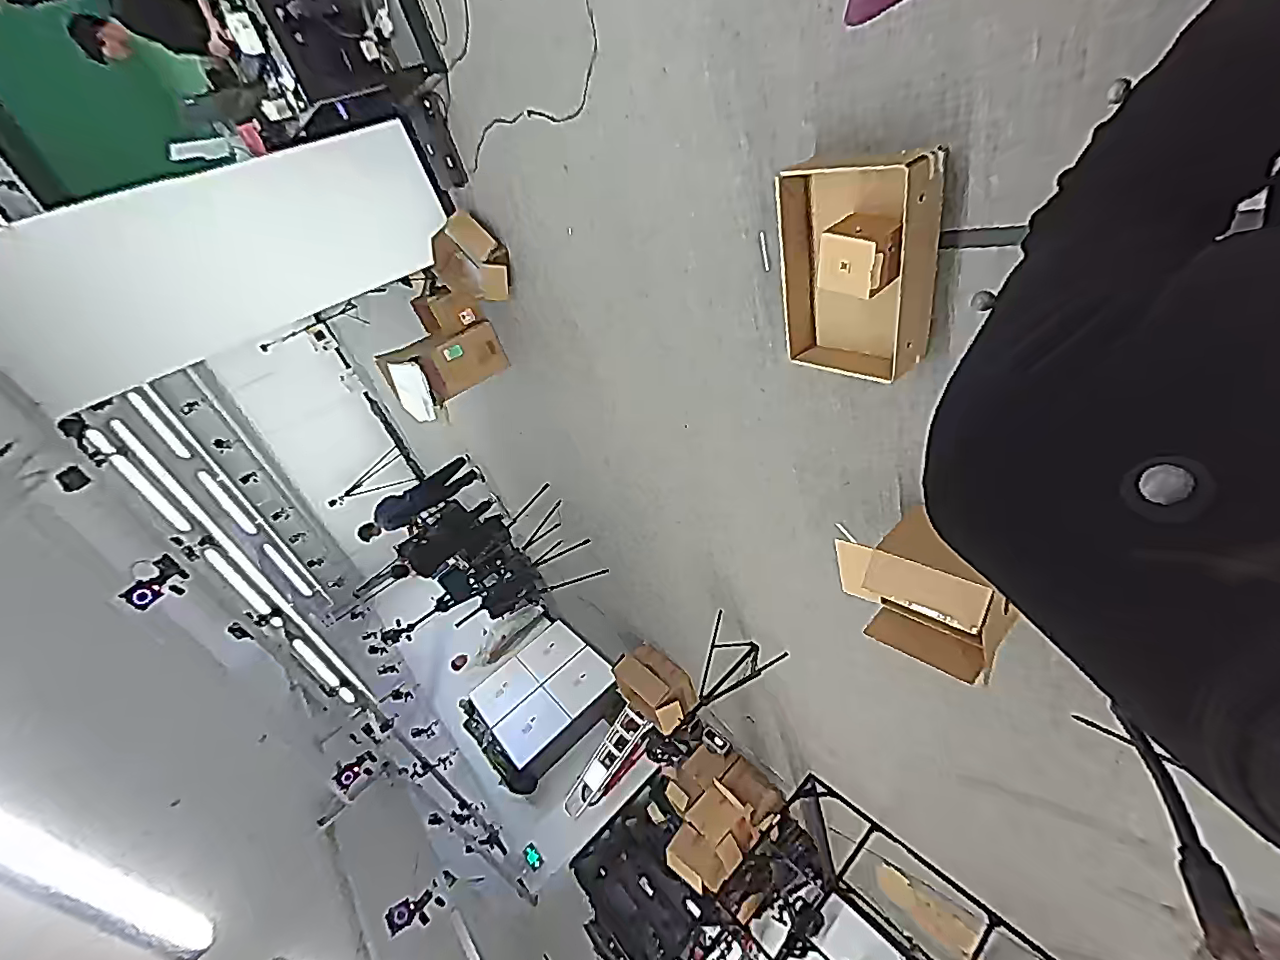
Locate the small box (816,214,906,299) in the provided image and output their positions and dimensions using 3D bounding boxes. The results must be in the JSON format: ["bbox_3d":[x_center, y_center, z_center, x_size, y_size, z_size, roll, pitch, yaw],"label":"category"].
[{"bbox_3d":[0.640,-0.655,1.570,0.179,0.176,0.168,33,149,36],"label":"small box"}]
